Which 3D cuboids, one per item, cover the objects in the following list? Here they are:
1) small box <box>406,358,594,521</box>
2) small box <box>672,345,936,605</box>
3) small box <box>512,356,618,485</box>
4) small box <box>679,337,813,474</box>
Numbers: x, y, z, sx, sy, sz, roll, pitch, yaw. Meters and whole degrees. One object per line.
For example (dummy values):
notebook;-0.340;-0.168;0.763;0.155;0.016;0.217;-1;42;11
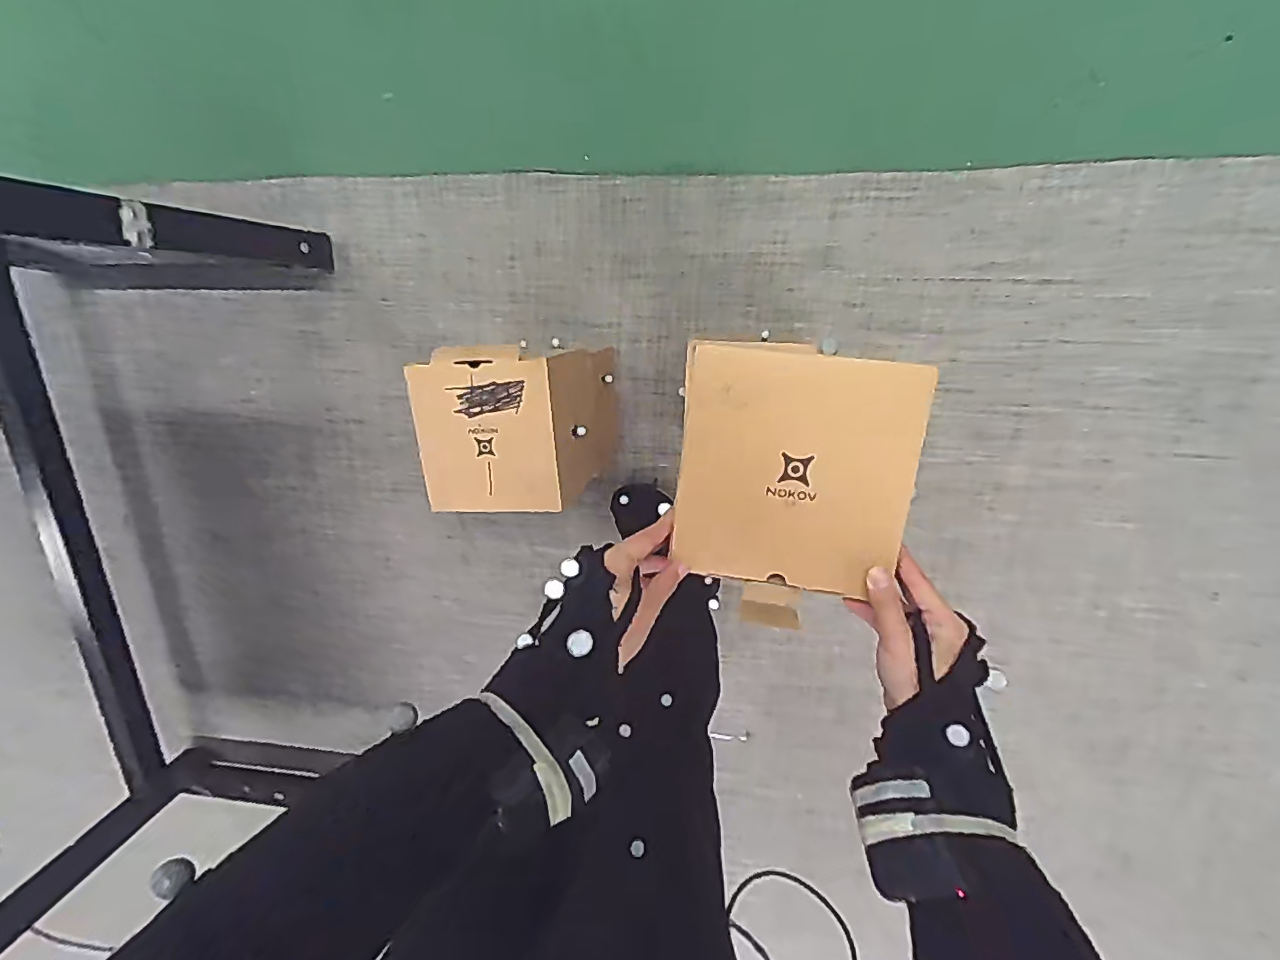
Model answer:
small box;-0.159;-0.058;0.674;0.168;0.176;0.179;-1;107;9
small box;0.123;-0.017;0.467;0.168;0.176;0.179;7;103;7
small box;-0.133;-0.099;0.831;0.168;0.176;0.179;0;107;10
small box;0.149;-0.109;0.786;0.168;0.176;0.179;4;109;6
